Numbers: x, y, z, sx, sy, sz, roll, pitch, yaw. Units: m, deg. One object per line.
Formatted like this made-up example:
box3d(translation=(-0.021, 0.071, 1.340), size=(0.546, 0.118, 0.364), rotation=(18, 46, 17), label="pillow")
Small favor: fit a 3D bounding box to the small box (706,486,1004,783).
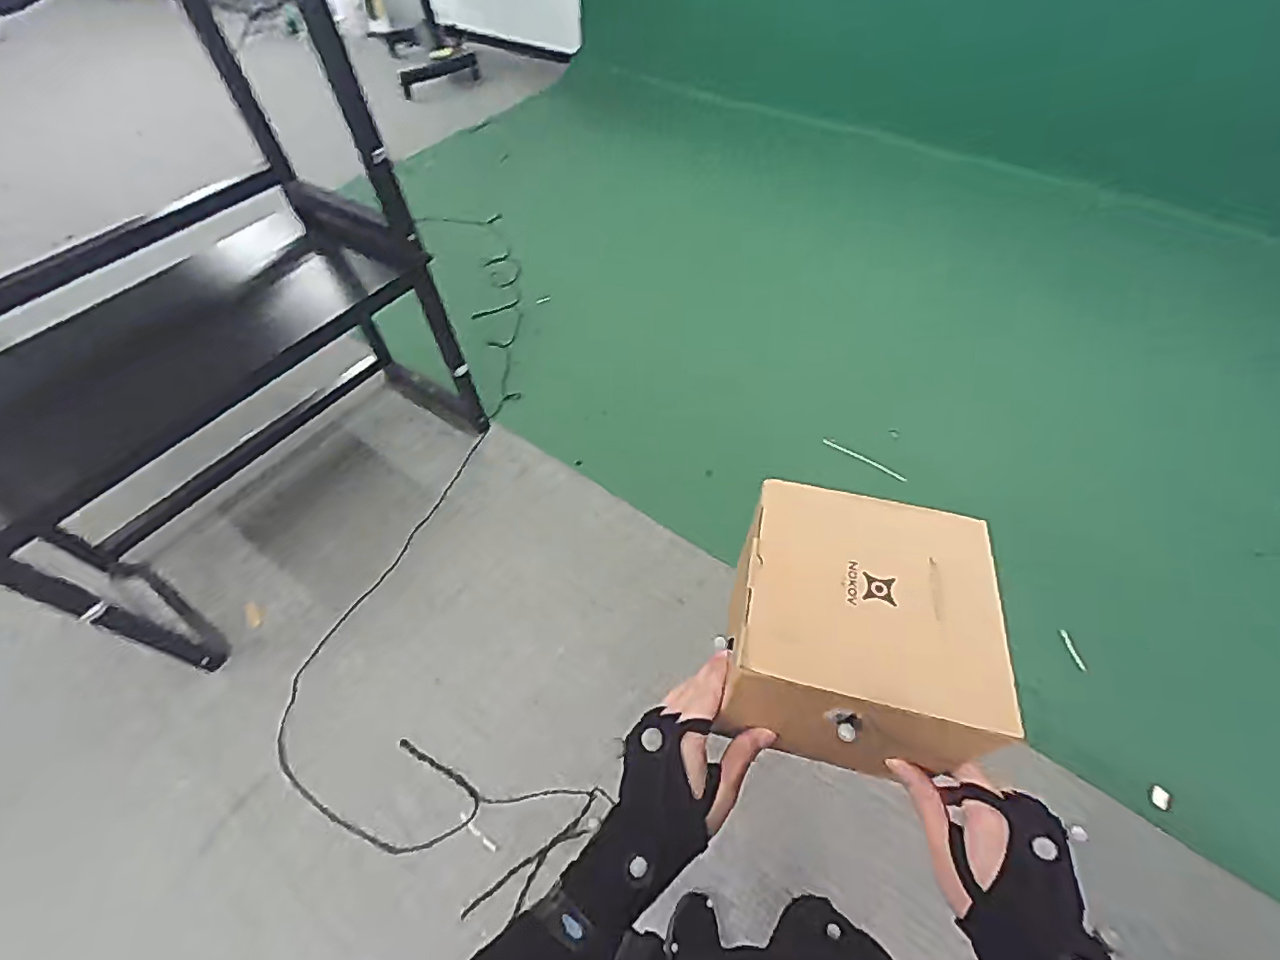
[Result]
box3d(translation=(0.156, 0.132, 0.450), size=(0.179, 0.176, 0.168), rotation=(11, 52, 8), label="small box")
